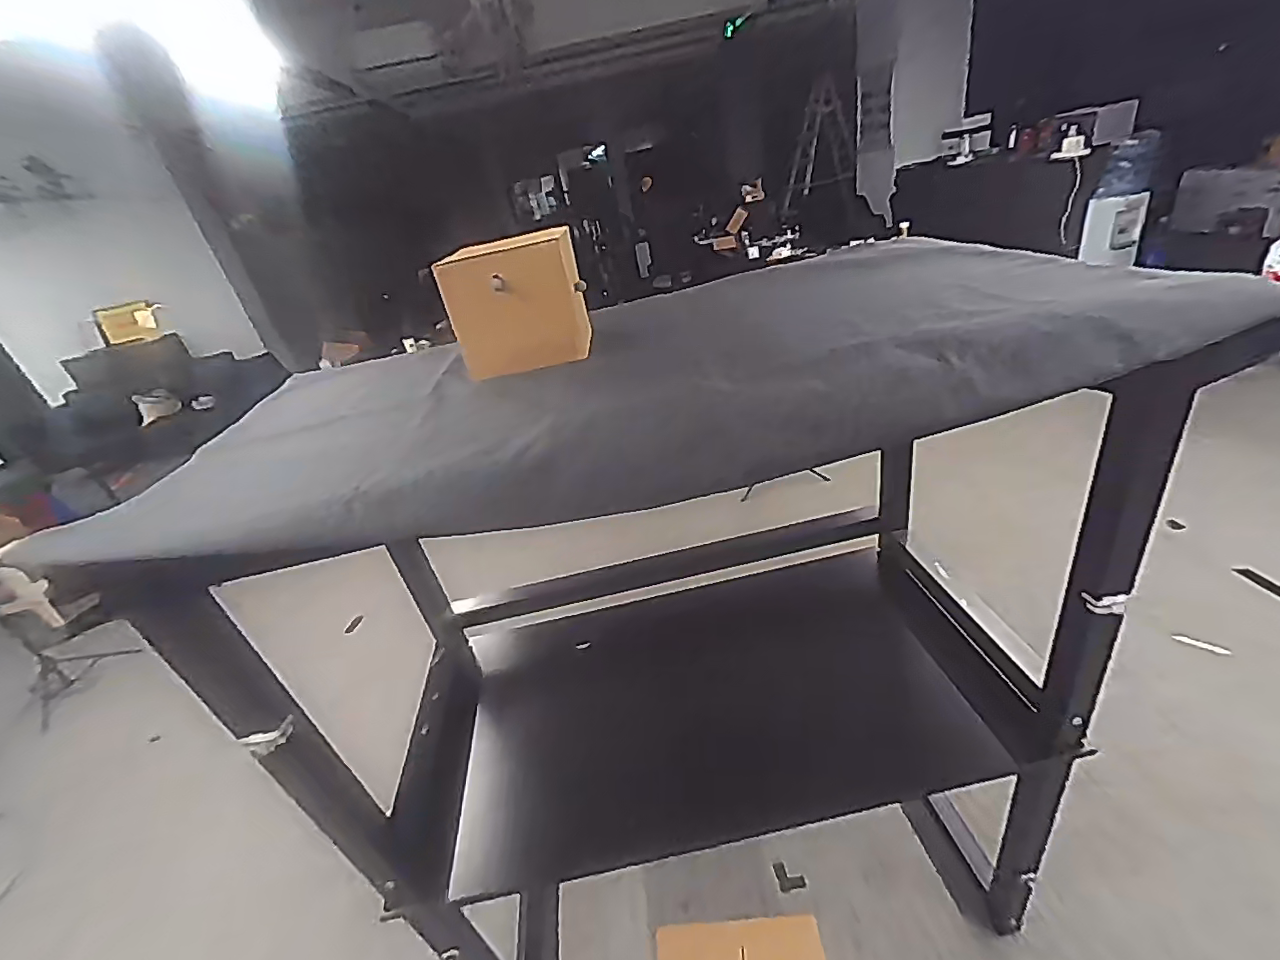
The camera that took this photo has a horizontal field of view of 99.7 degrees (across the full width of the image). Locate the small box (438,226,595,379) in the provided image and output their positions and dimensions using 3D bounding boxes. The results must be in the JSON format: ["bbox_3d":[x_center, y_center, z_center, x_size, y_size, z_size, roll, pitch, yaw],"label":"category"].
[{"bbox_3d":[-0.169,-0.267,0.812,0.179,0.176,0.168,-10,30,4],"label":"small box"}]

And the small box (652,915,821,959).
[{"bbox_3d":[0.100,0.566,0.537,0.168,0.176,0.179,-2,38,-2],"label":"small box"}]
